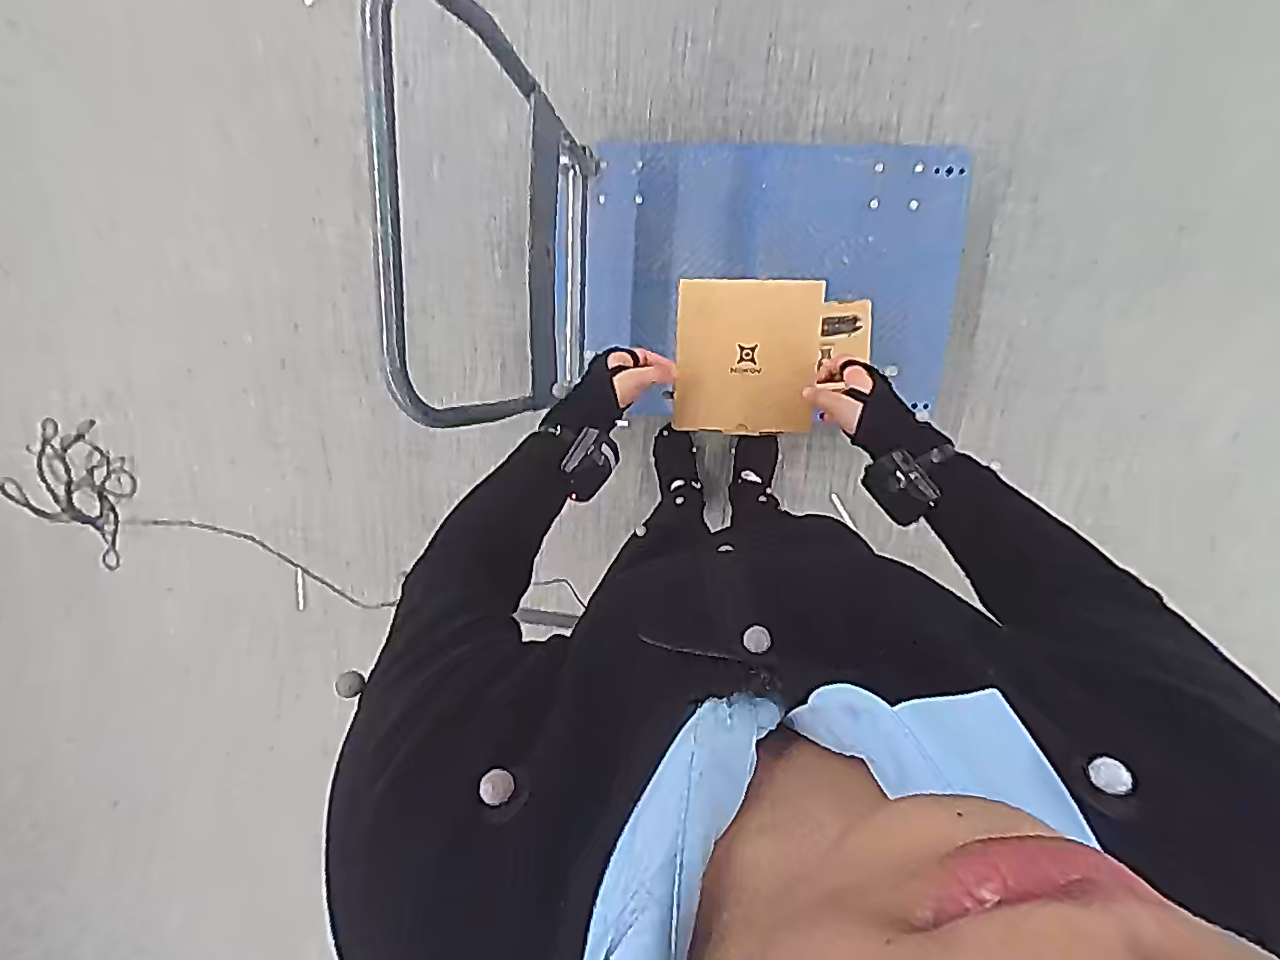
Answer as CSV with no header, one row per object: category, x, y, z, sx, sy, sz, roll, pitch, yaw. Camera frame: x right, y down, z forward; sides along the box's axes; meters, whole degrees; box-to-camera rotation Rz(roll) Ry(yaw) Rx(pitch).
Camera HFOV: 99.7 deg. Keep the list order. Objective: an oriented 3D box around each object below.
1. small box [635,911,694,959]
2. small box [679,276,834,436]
small box,0.082,1.520,1.715,0.168,0.176,0.179,-6,101,6
small box,0.135,-0.157,0.692,0.168,0.176,0.179,2,104,4
